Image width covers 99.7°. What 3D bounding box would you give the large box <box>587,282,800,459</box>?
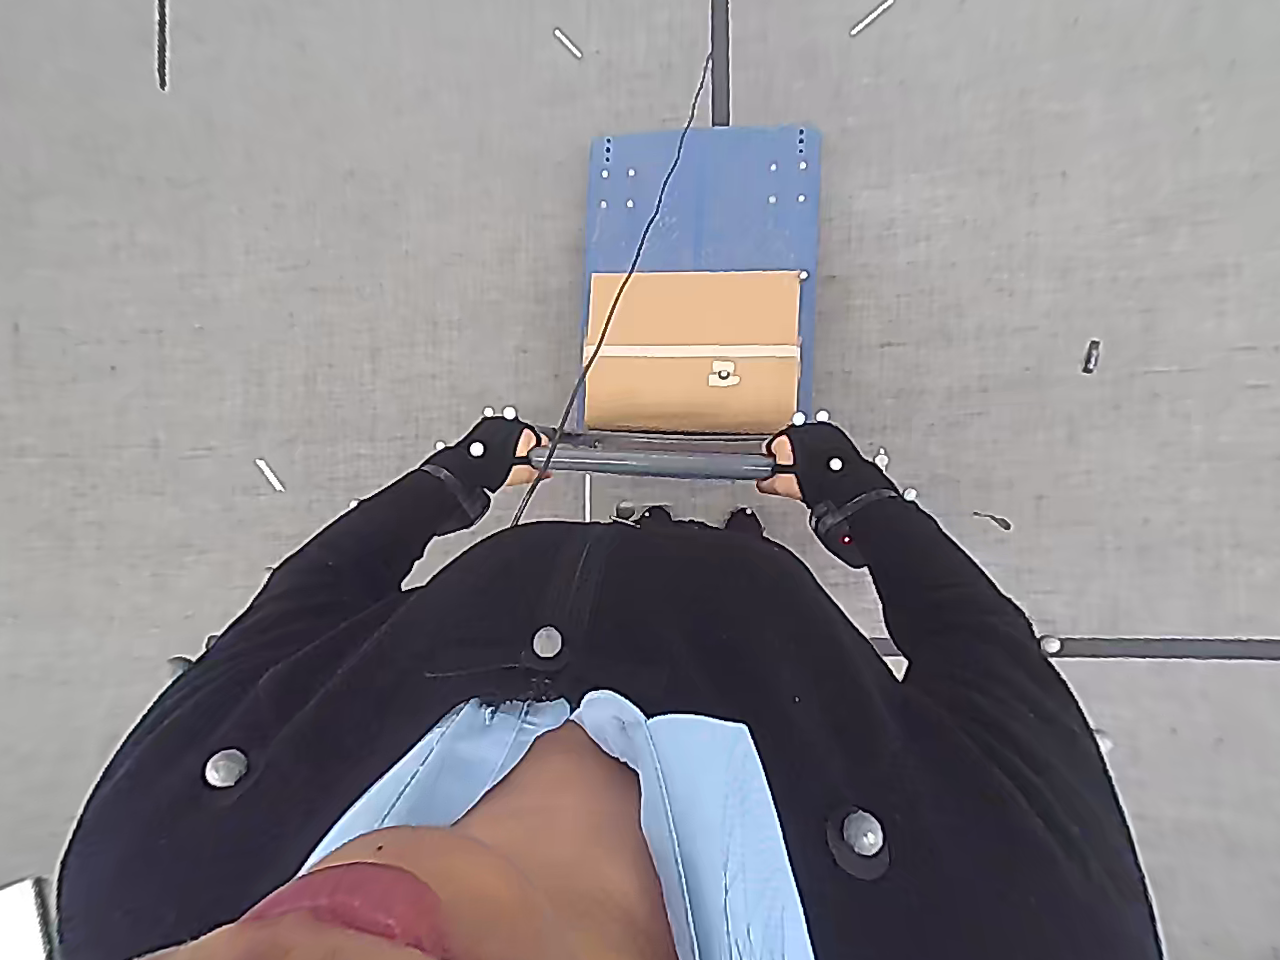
[{"bbox_3d":[0.113,-0.214,1.174,0.408,0.320,0.320,2,88,7],"label":"large box"}]
